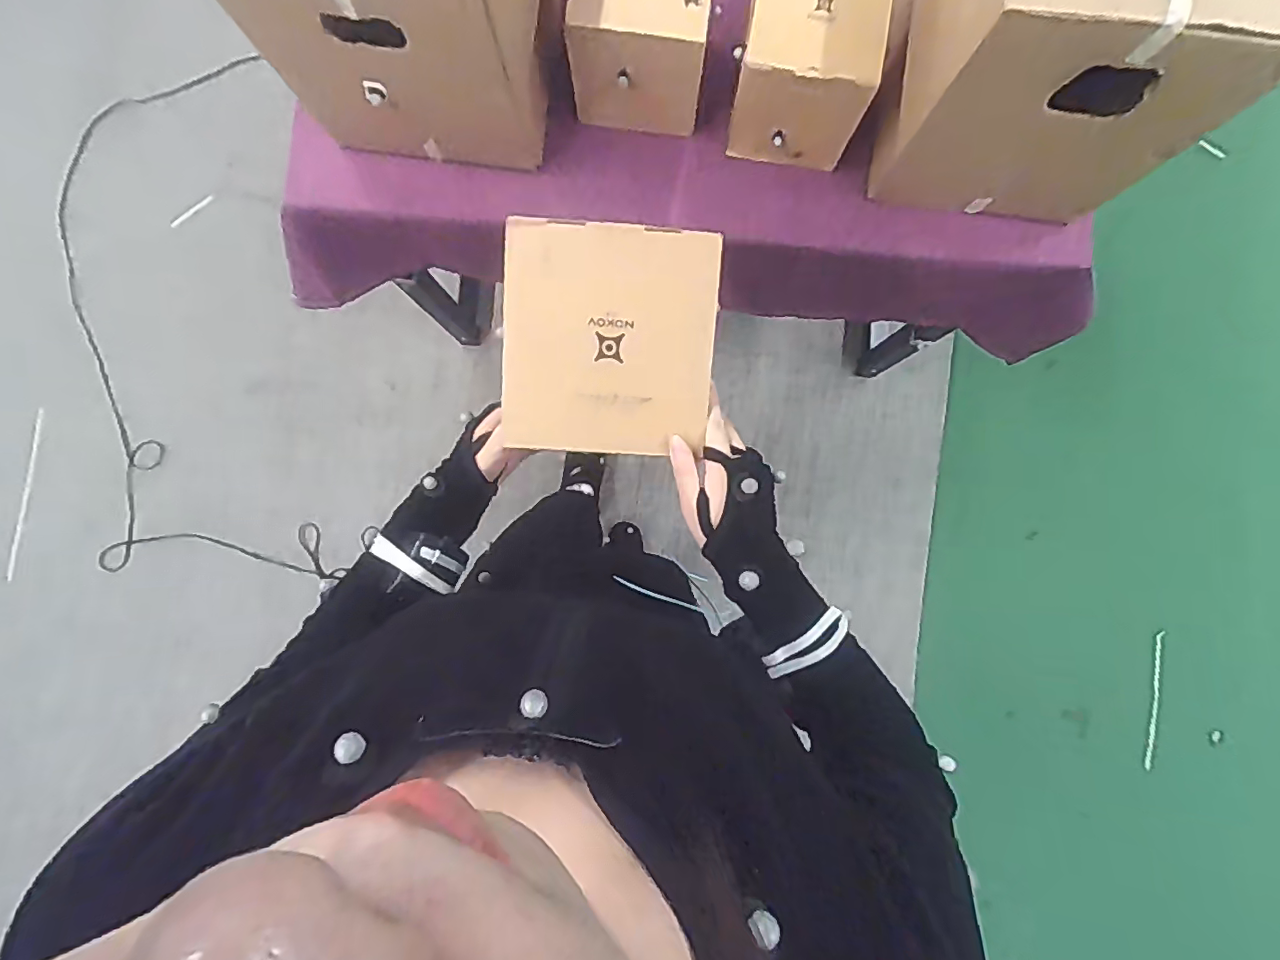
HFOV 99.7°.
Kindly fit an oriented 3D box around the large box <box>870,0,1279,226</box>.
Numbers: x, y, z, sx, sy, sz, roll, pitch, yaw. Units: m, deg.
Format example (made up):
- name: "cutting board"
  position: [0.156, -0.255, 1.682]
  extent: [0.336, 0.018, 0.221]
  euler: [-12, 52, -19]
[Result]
- name: "large box"
  position: [0.521, -0.605, 0.679]
  extent: [0.320, 0.320, 0.408]
  euler: [8, 88, 0]
